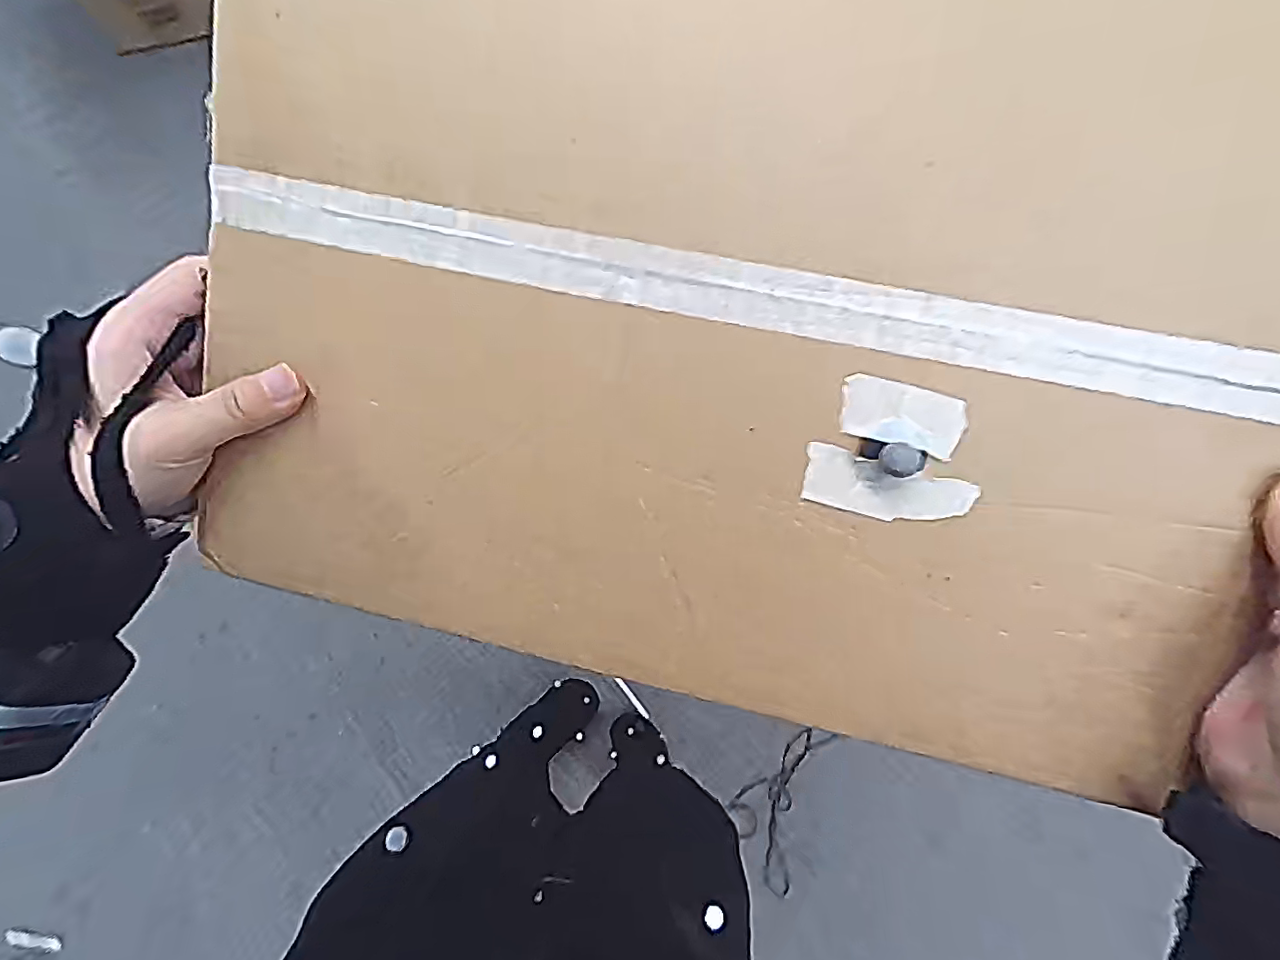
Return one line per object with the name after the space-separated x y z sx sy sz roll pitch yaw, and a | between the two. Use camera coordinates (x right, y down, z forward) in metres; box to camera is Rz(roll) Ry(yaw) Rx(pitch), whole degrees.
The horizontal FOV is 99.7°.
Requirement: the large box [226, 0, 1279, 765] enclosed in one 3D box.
0.046 -0.089 0.351 0.408 0.320 0.320 11 101 4 | large box
